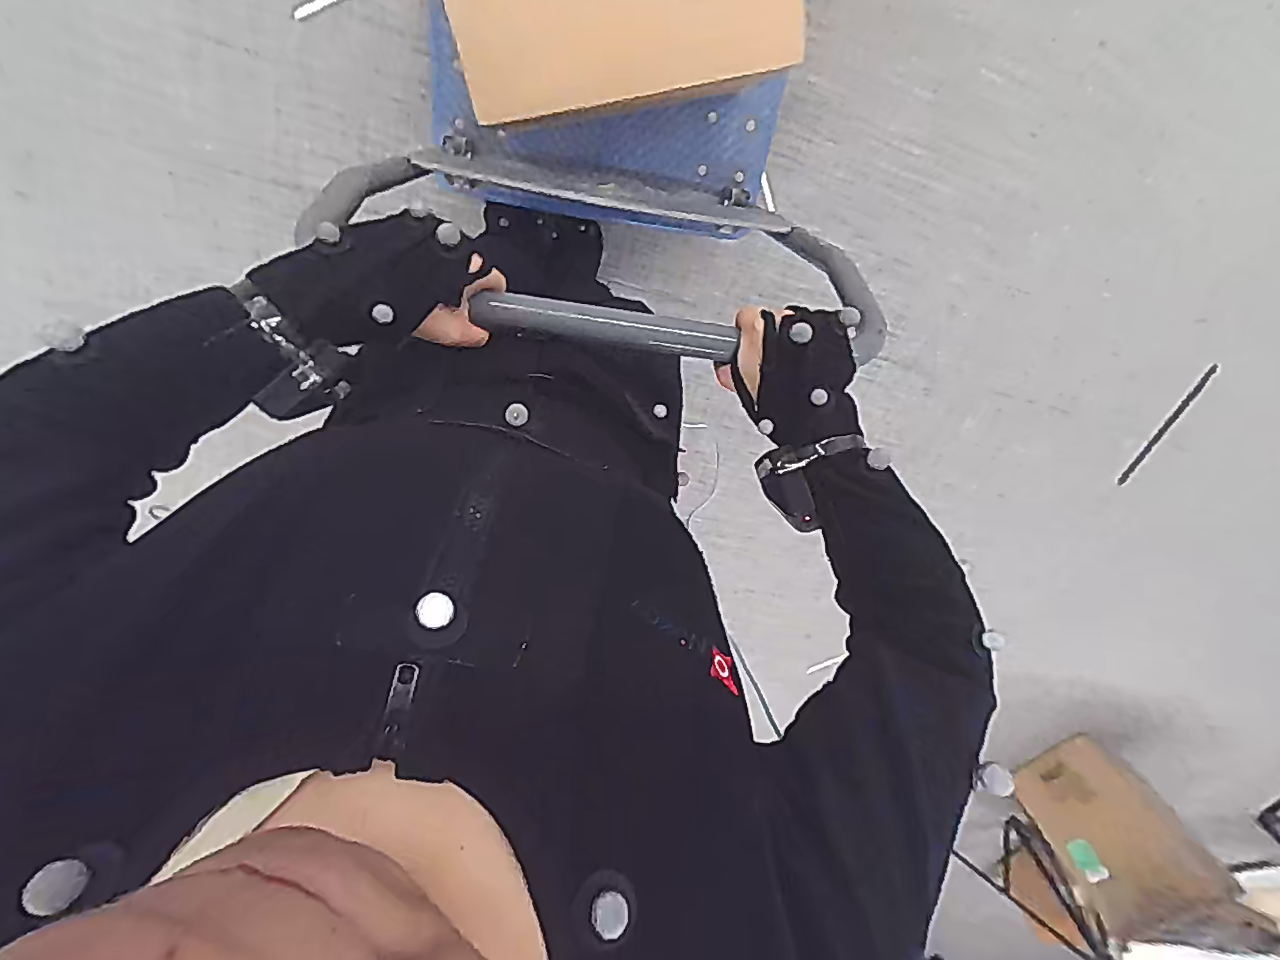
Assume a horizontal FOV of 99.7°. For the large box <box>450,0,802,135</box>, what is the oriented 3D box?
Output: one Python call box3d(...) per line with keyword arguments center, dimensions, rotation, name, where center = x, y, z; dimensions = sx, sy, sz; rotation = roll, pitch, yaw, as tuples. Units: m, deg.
box3d(center=(-0.041, -0.676, 0.708), dimensions=(0.408, 0.320, 0.320), rotation=(-12, 122, 0), name="large box")
